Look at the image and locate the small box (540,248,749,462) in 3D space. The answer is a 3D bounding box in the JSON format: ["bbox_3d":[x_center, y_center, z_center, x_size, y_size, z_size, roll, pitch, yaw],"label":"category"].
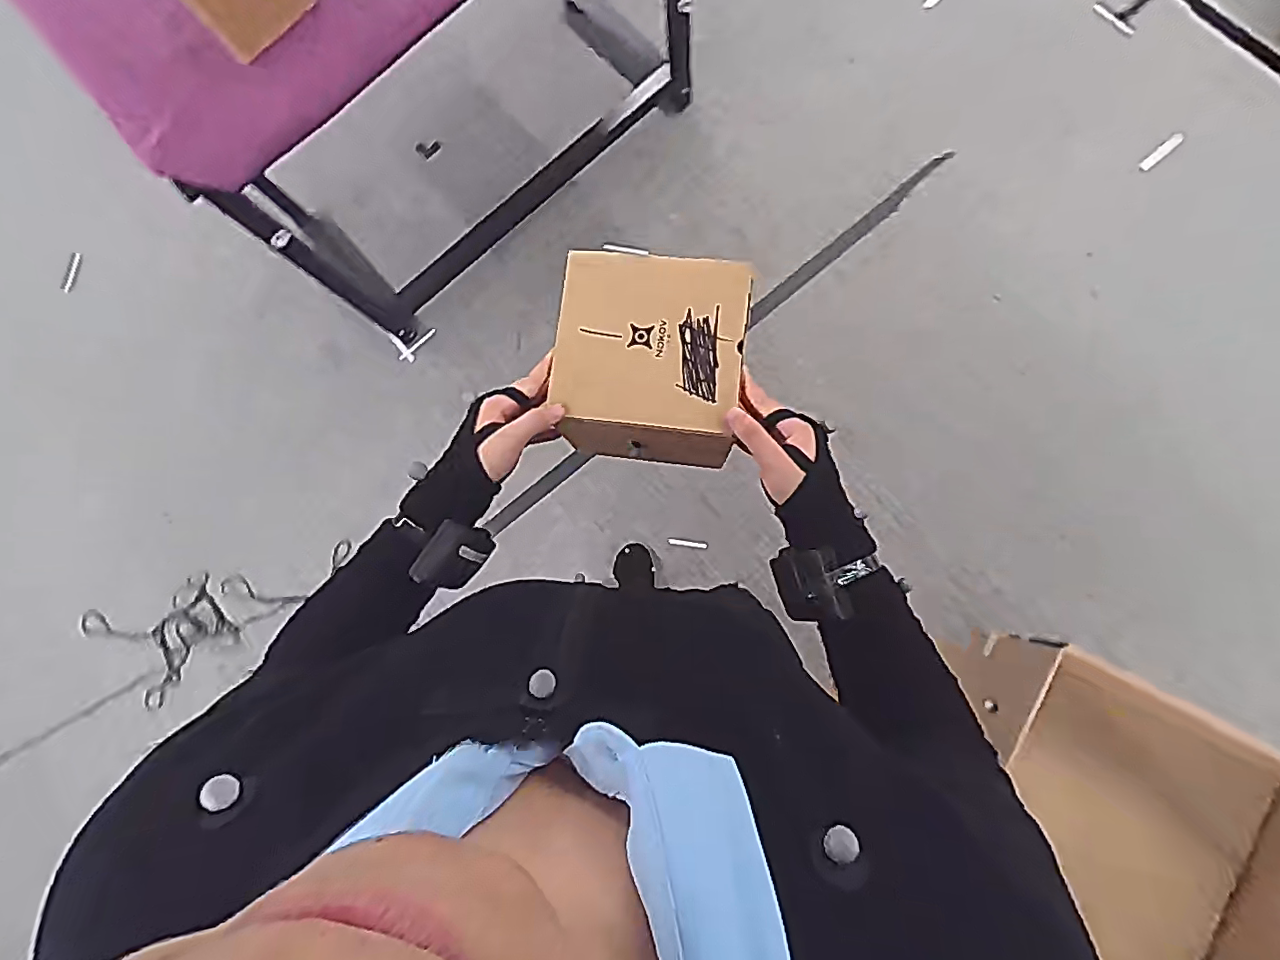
[{"bbox_3d":[0.010,-0.118,0.571,0.179,0.176,0.168,6,81,6],"label":"small box"}]

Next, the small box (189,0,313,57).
[{"bbox_3d":[-0.701,-0.873,0.906,0.179,0.176,0.168,-43,81,-3],"label":"small box"}]
